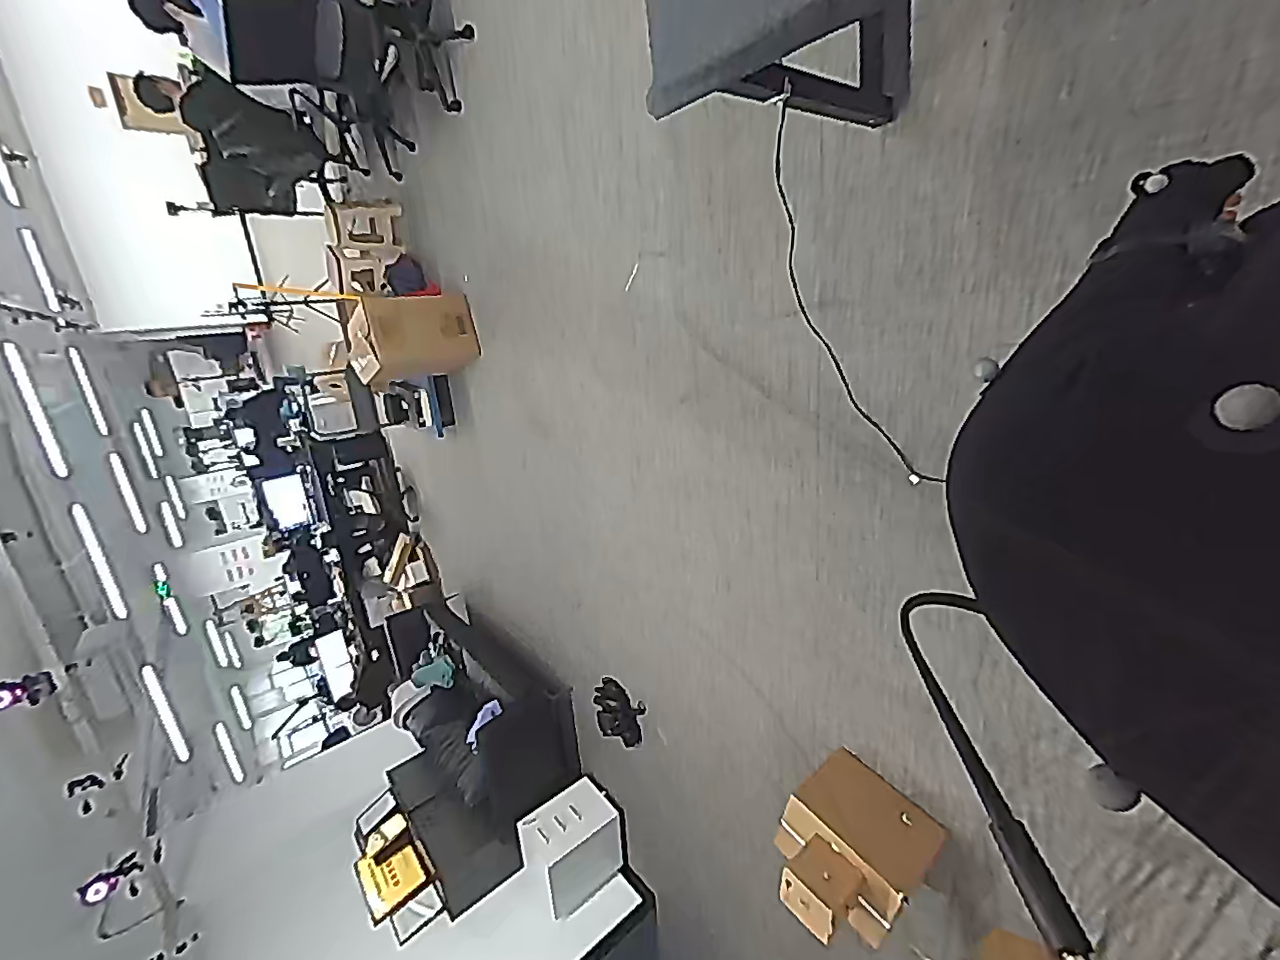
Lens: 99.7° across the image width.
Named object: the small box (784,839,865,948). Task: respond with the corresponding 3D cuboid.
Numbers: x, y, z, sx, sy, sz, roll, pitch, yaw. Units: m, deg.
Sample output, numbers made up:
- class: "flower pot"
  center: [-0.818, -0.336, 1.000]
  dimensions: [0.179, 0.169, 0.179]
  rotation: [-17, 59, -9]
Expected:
- class: "small box"
  center: [0.579, 1.284, 1.692]
  dimensions: [0.179, 0.176, 0.168]
  rotation: [24, 123, 45]
